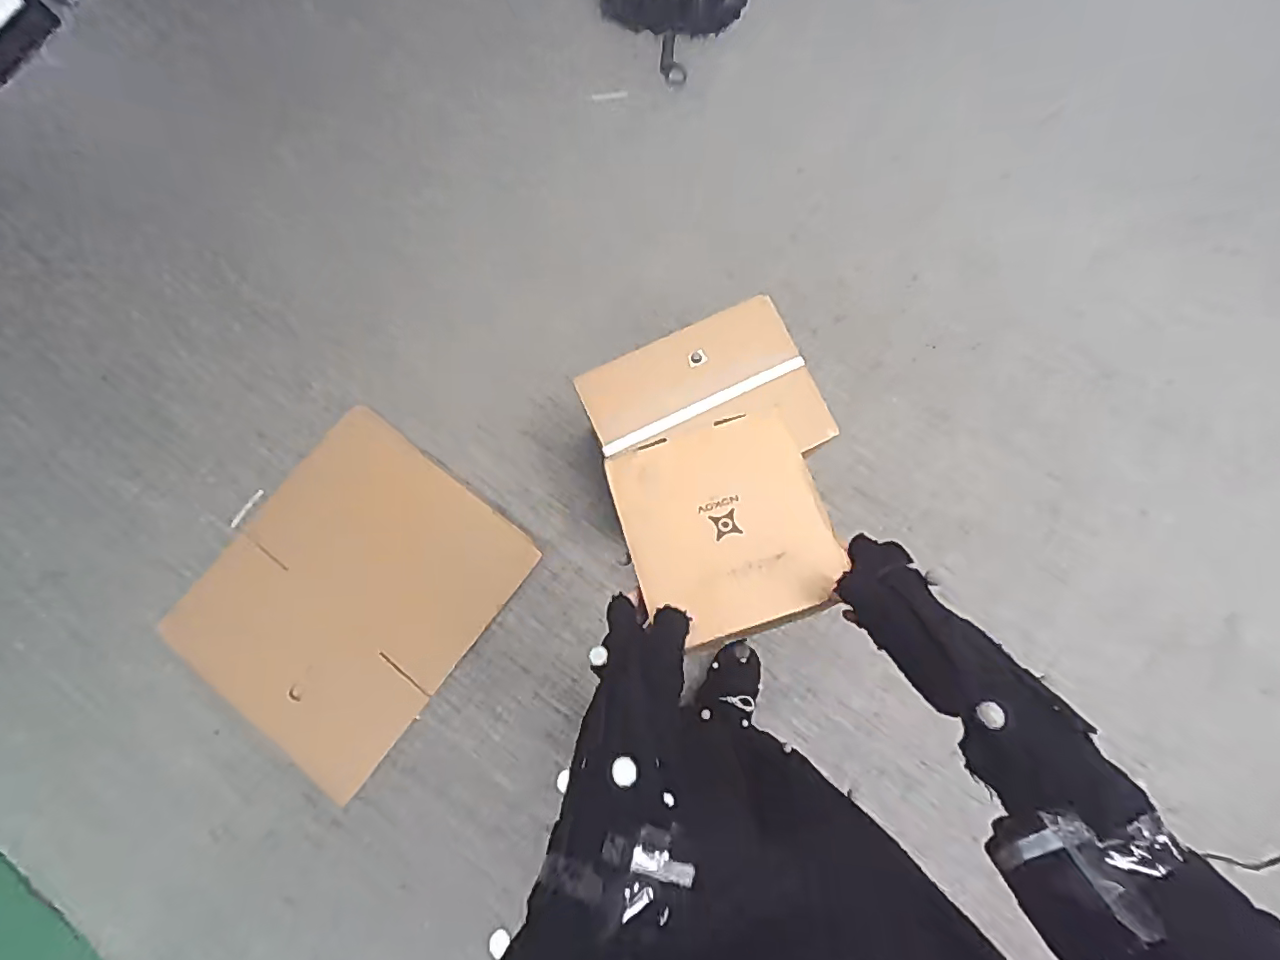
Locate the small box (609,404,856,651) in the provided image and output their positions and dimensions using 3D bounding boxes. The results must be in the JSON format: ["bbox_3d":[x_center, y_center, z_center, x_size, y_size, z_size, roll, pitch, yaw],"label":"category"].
[{"bbox_3d":[0.080,0.058,0.535,0.168,0.176,0.179,-19,69,0],"label":"small box"}]
